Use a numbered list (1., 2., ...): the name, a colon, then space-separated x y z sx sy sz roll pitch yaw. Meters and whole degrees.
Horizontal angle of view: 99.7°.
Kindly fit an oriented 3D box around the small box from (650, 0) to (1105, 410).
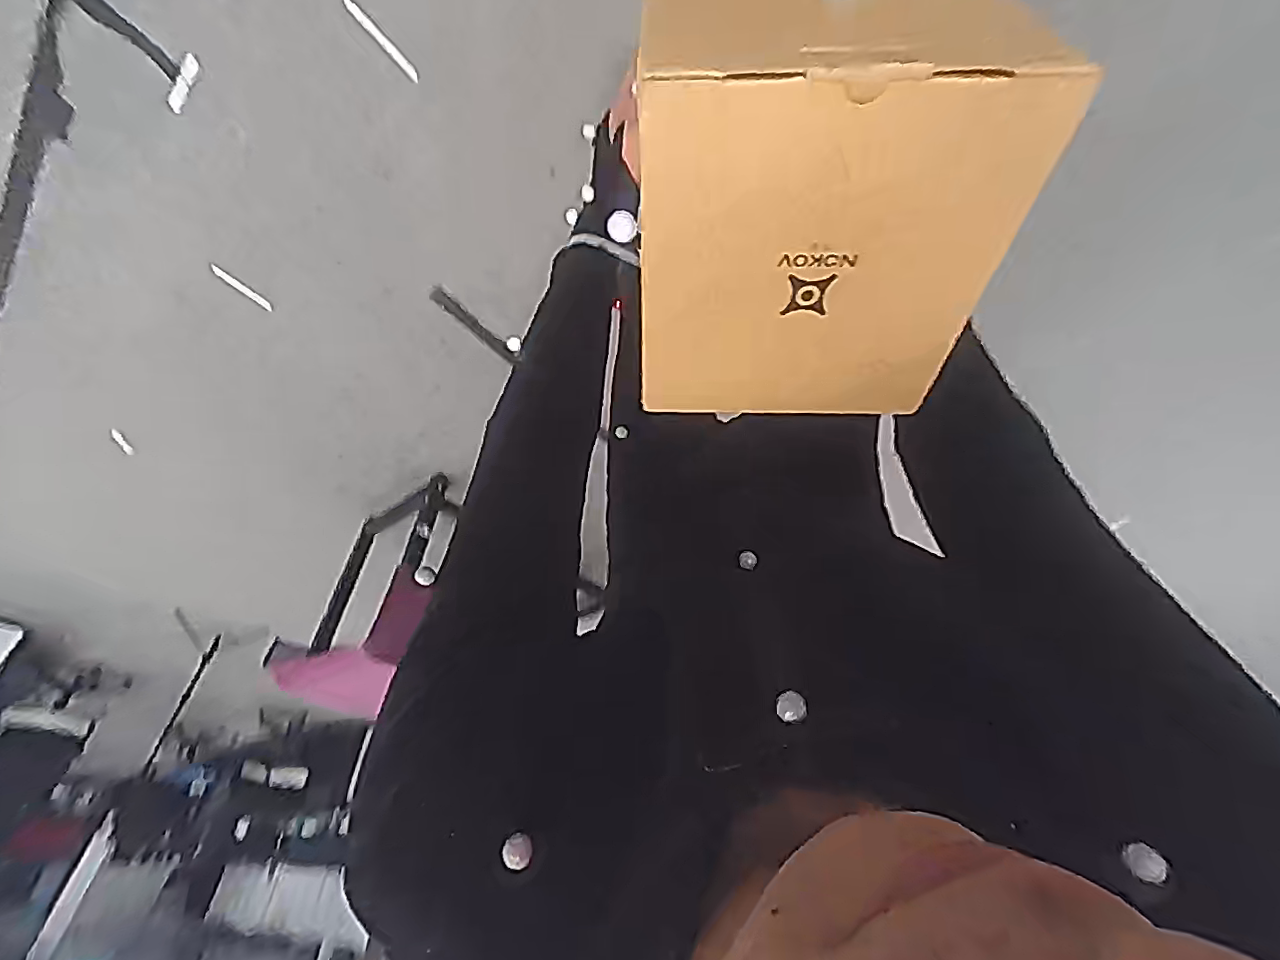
1. small box: 0.091 -0.160 0.308 0.168 0.176 0.179 0 142 2
